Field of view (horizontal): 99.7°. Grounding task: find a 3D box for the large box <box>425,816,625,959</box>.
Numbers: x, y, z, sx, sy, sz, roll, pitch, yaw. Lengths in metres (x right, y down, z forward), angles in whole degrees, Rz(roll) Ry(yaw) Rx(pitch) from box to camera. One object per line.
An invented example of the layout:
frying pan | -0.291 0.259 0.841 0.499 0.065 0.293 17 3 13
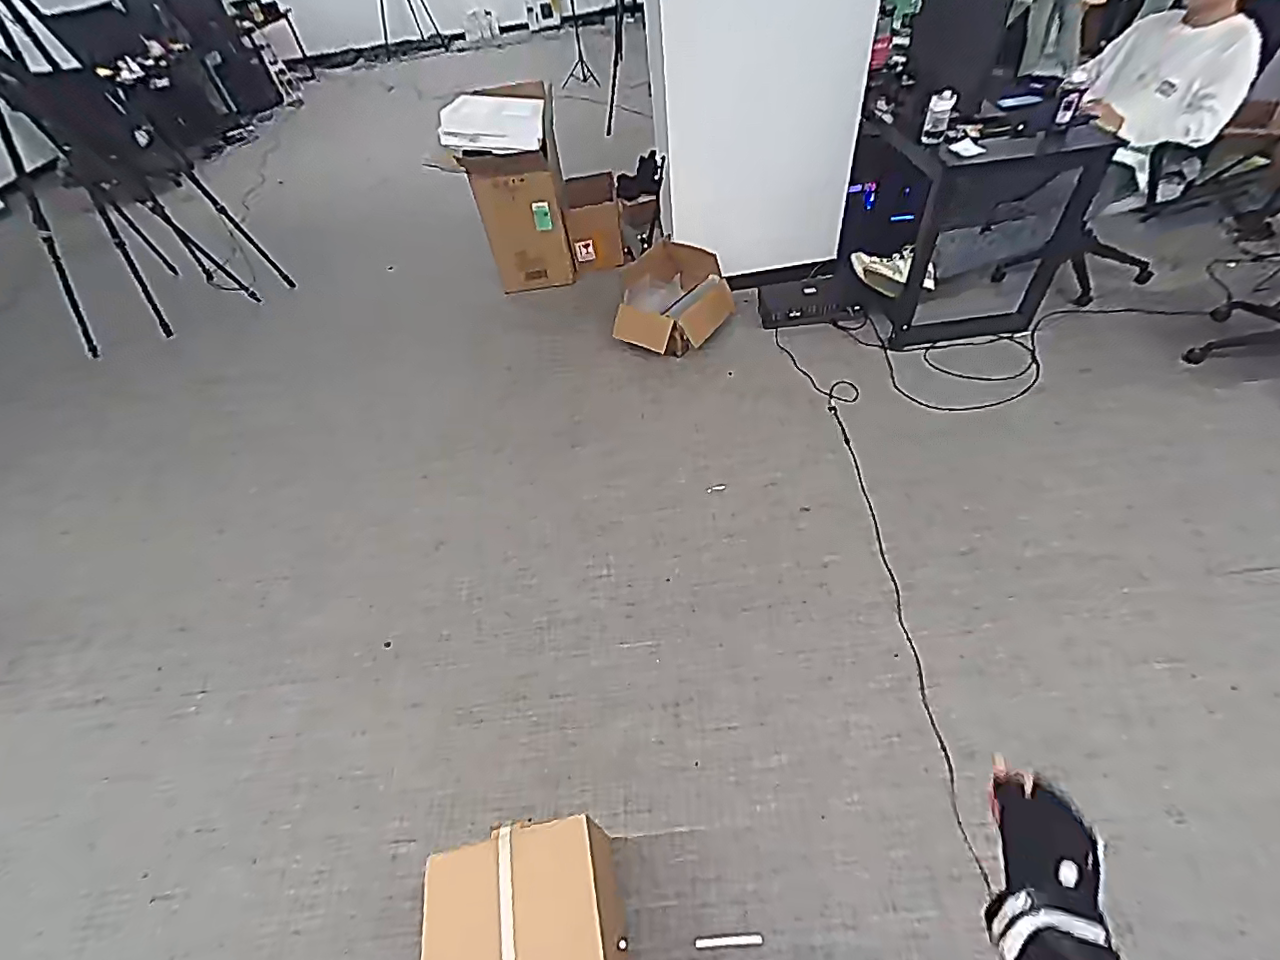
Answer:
large box | -0.199 0.929 1.031 0.320 0.320 0.408 -14 49 -2
